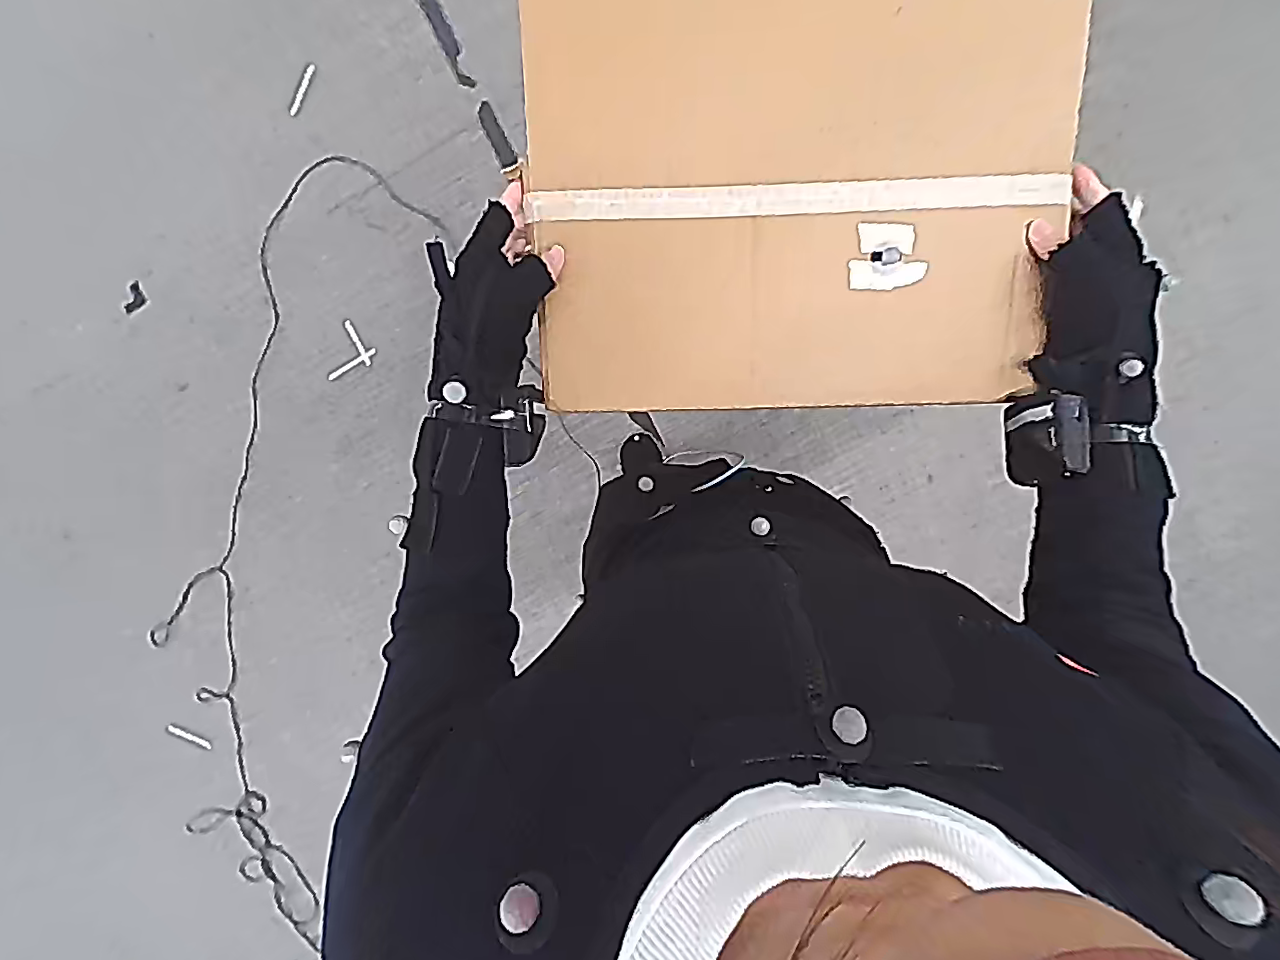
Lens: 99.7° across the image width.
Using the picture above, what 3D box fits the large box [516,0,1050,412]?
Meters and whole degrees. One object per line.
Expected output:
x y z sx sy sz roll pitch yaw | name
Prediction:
0.111 -0.246 0.571 0.408 0.320 0.320 -2 102 0 | large box
